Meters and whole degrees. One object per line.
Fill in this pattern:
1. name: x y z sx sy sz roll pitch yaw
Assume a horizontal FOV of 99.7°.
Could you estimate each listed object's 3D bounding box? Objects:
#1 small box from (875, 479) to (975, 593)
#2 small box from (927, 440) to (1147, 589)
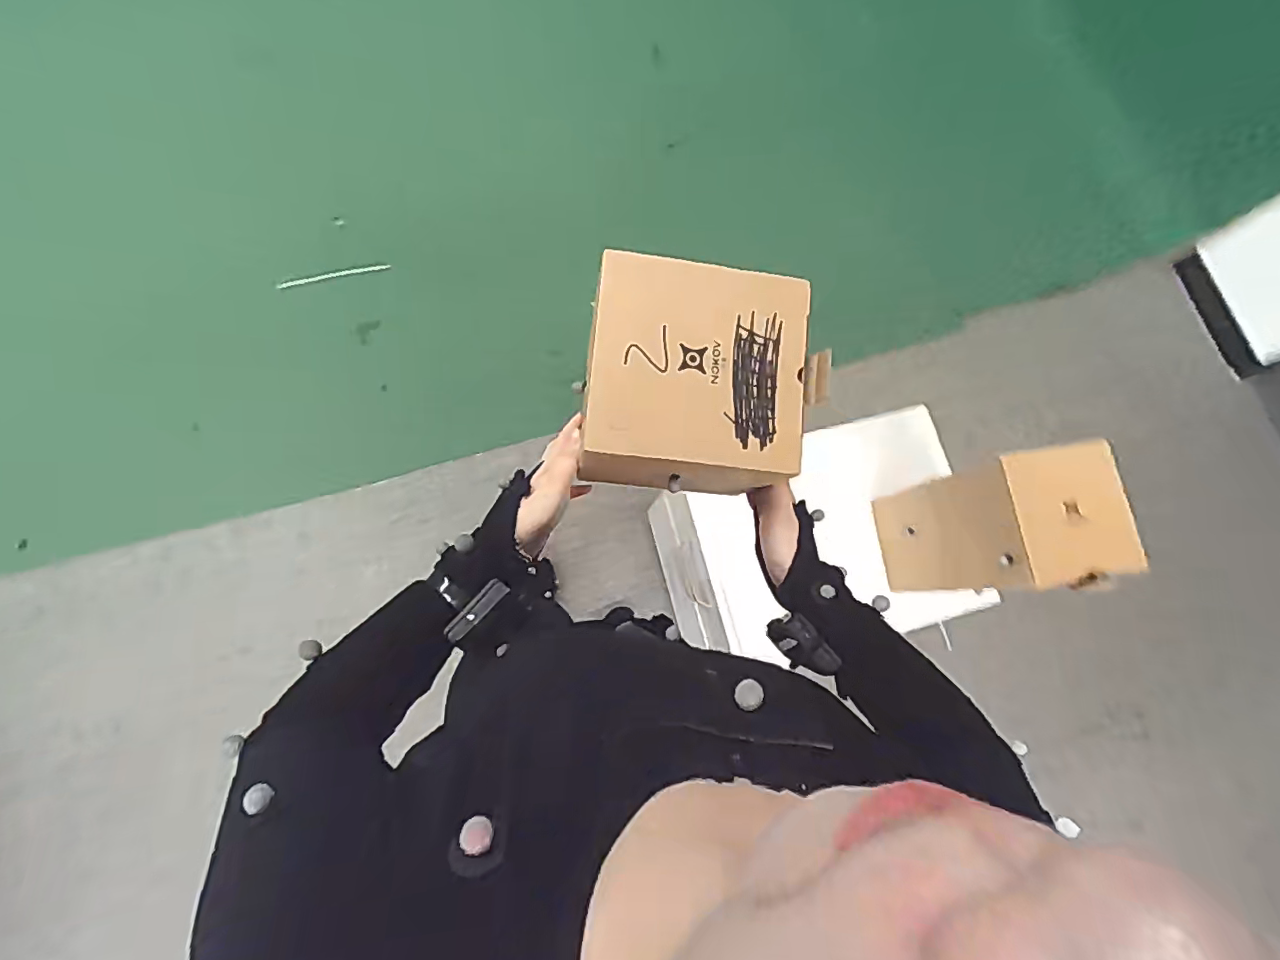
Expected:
1. small box: 0.531 0.095 0.927 0.168 0.176 0.179 -6 78 -7
2. small box: 0.544 0.056 0.770 0.168 0.176 0.179 -7 79 -8
